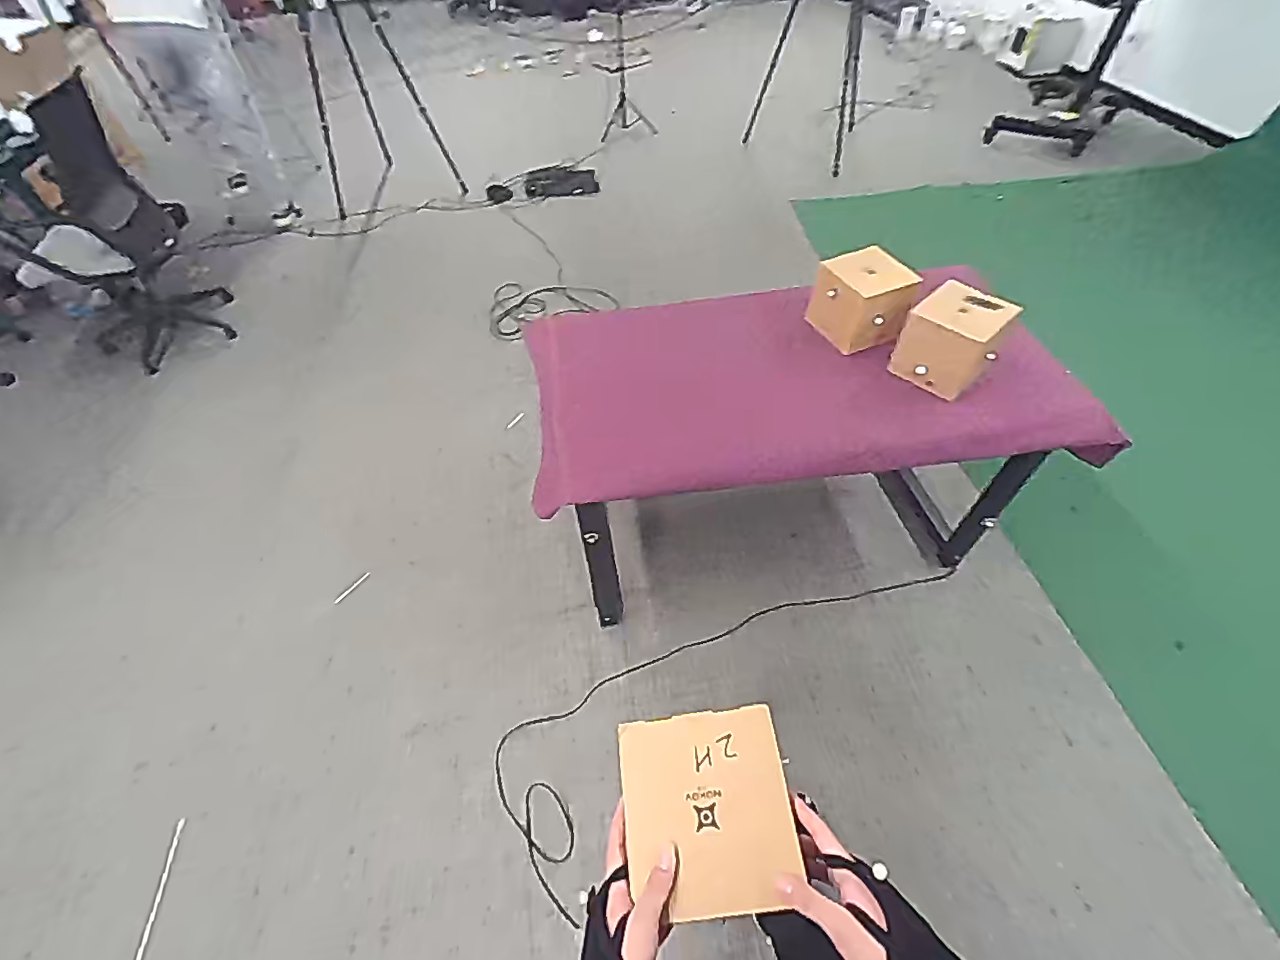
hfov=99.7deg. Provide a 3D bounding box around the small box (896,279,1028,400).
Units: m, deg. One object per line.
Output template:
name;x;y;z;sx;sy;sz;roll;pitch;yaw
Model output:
small box;0.714;-0.315;1.221;0.179;0.176;0.168;-37;58;-22

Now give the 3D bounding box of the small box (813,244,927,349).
small box;0.556;-0.444;1.331;0.168;0.176;0.179;-20;53;-12
